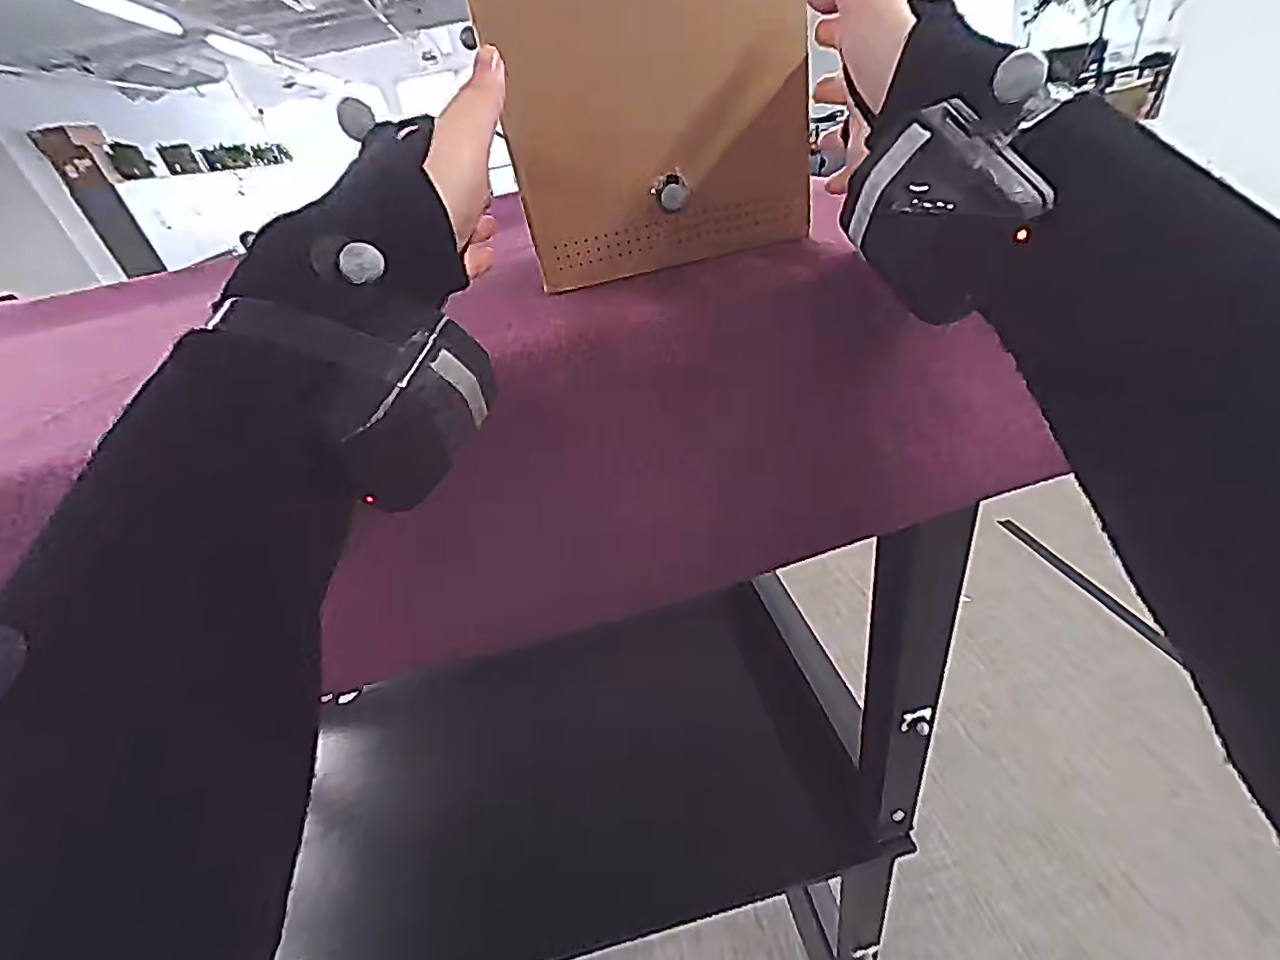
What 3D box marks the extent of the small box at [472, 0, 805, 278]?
[{"bbox_3d":[0.000,-0.251,0.362,0.179,0.176,0.168,-14,32,-2],"label":"small box"}]
